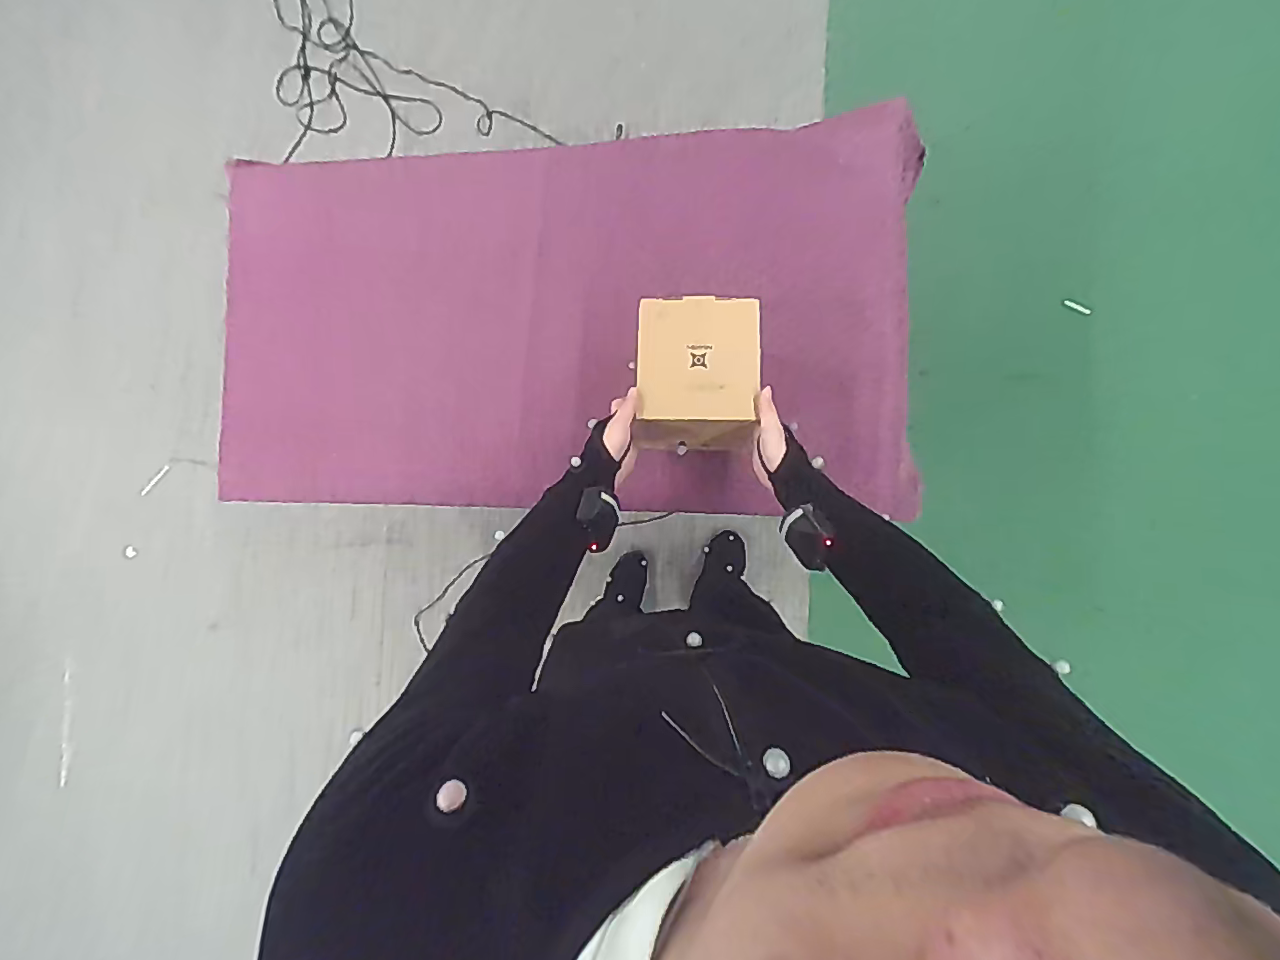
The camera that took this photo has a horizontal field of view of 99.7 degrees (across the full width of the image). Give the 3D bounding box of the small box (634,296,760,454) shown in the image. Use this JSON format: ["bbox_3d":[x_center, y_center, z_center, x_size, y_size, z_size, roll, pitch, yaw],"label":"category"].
[{"bbox_3d":[0.079,-0.146,0.791,0.168,0.176,0.179,2,79,3],"label":"small box"}]
